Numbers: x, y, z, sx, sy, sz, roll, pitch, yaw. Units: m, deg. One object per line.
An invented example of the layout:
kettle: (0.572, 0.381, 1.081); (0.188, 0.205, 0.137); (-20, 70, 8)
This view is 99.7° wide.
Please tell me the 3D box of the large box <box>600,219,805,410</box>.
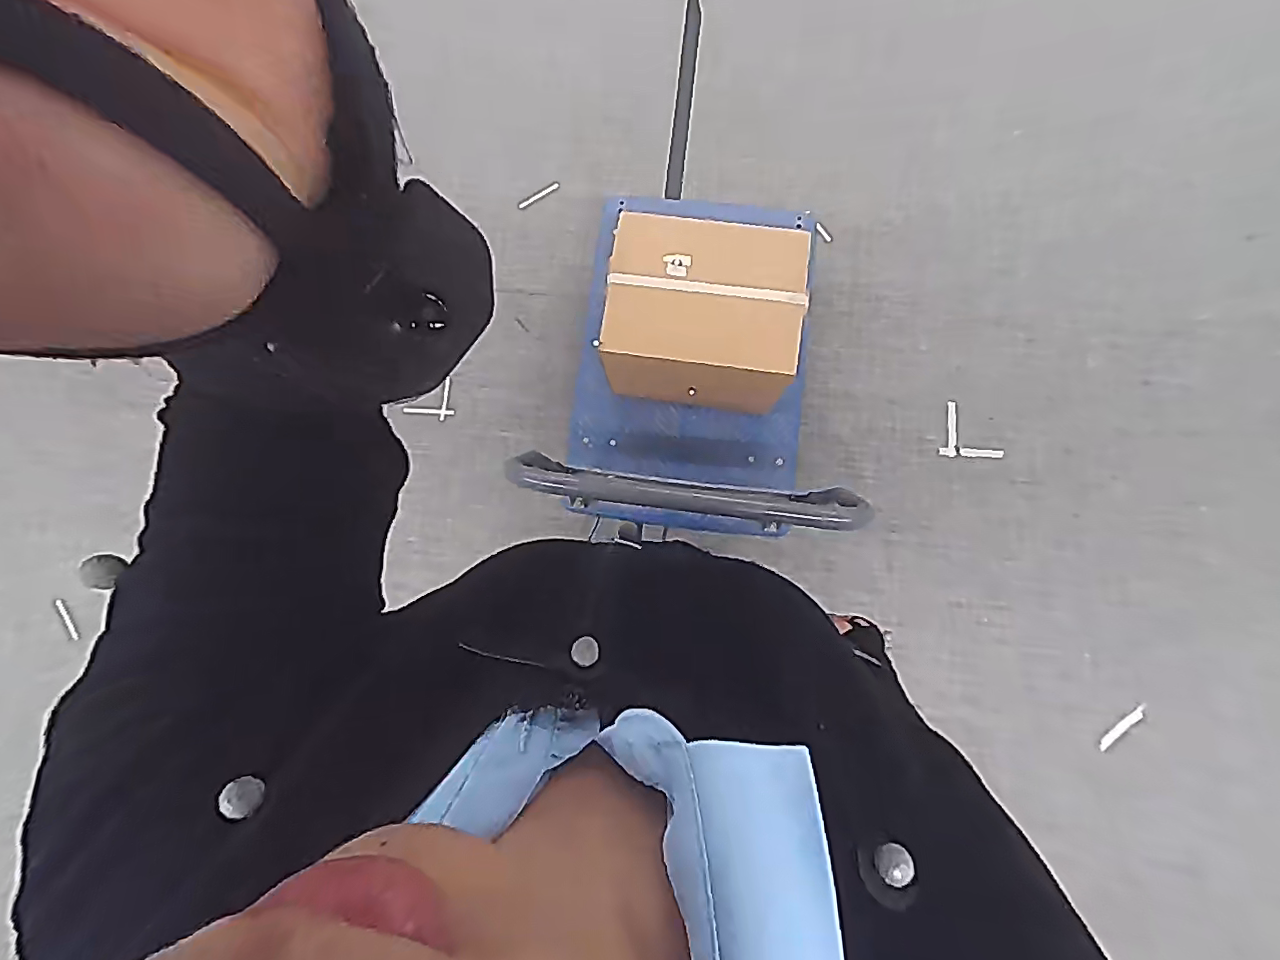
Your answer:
large box: (0.143, -0.367, 1.268); (0.408, 0.320, 0.320); (8, 81, 5)
